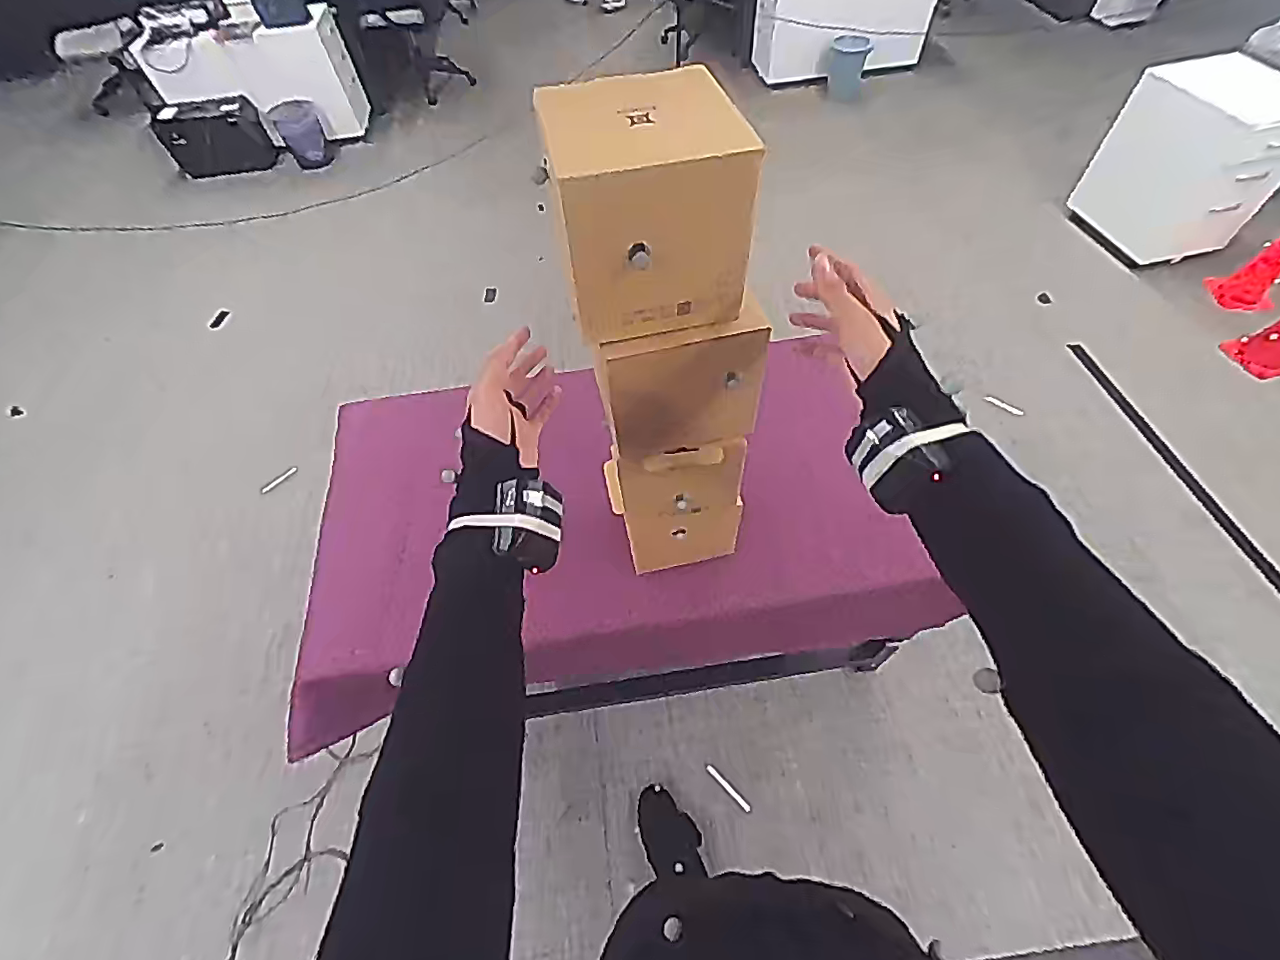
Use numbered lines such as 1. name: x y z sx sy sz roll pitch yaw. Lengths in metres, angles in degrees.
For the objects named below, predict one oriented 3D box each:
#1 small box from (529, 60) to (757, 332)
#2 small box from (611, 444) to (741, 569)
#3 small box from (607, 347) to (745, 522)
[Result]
1. small box: 0.000 -0.261 0.519 0.168 0.176 0.179 -13 55 -5
2. small box: 0.058 0.033 0.911 0.179 0.176 0.168 -12 56 -4
3. small box: 0.046 -0.062 0.777 0.168 0.176 0.179 -8 56 0
